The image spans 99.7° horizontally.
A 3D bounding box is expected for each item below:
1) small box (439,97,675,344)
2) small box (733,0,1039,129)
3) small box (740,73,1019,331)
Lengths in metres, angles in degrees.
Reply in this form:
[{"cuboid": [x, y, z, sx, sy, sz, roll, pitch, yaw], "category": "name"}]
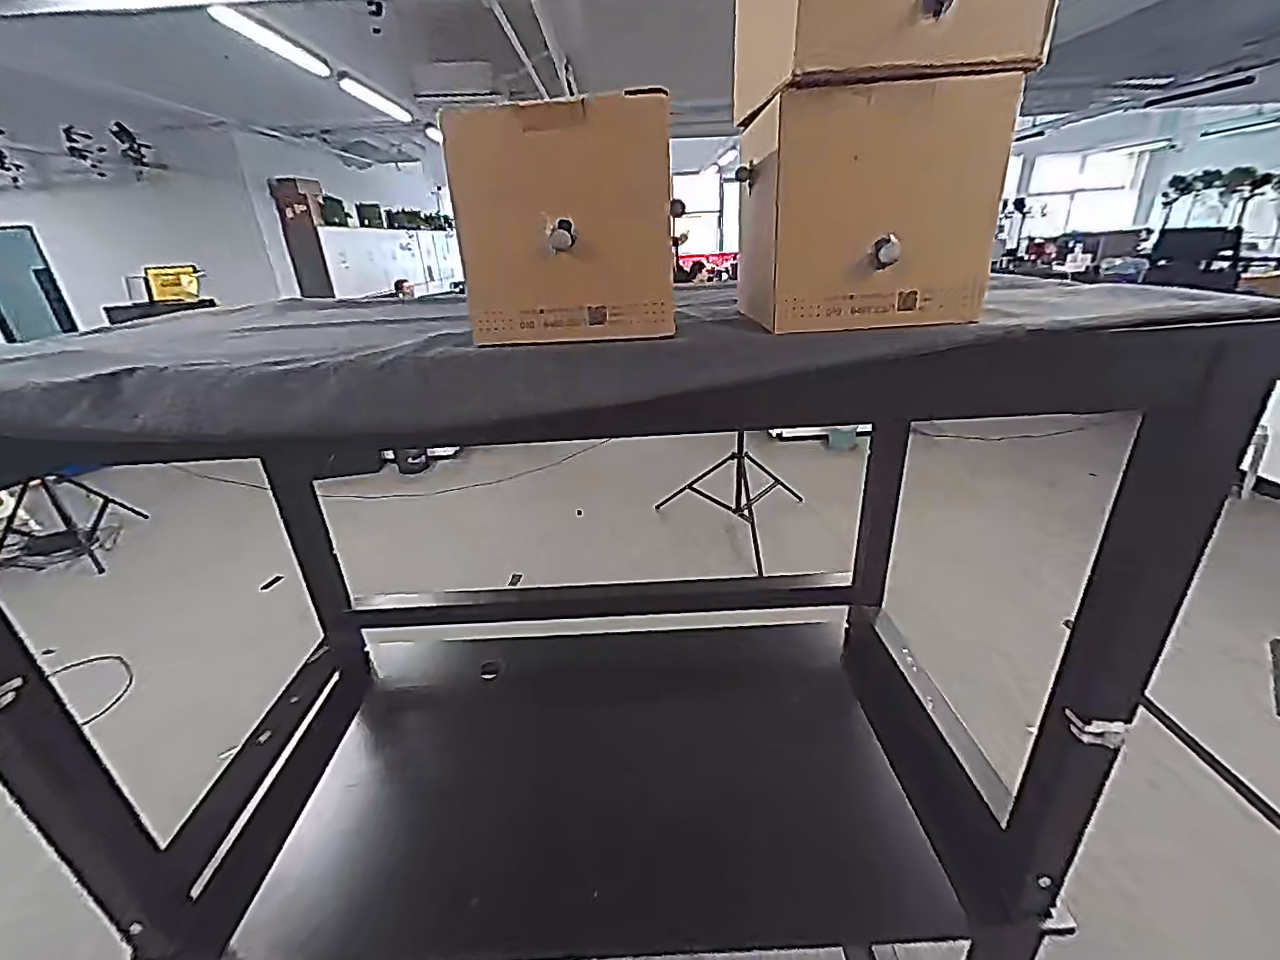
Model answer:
[{"cuboid": [-0.054, -0.217, 0.484, 0.168, 0.176, 0.179, -2, 23, 3], "category": "small box"}, {"cuboid": [0.174, -0.377, 0.400, 0.179, 0.176, 0.168, -4, 23, -3], "category": "small box"}, {"cuboid": [0.182, -0.228, 0.477, 0.168, 0.176, 0.179, -4, 23, 2], "category": "small box"}]
